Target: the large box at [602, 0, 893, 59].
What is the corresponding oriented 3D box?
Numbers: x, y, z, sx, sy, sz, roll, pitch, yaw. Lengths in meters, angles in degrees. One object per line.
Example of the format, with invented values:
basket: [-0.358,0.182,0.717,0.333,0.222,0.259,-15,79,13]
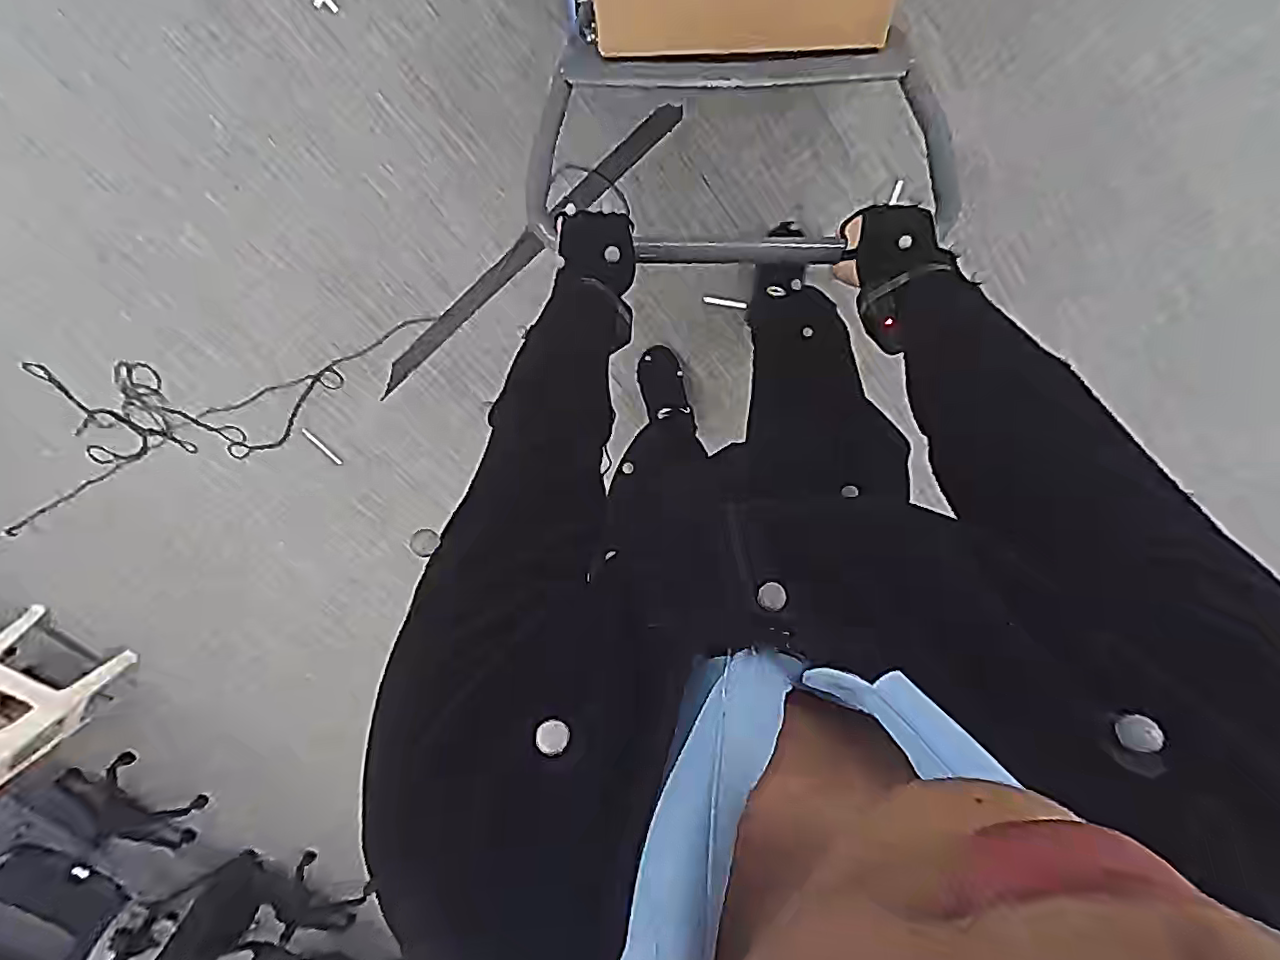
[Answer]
large box: [0.144,-0.835,0.754,0.408,0.320,0.320,0,143,4]
